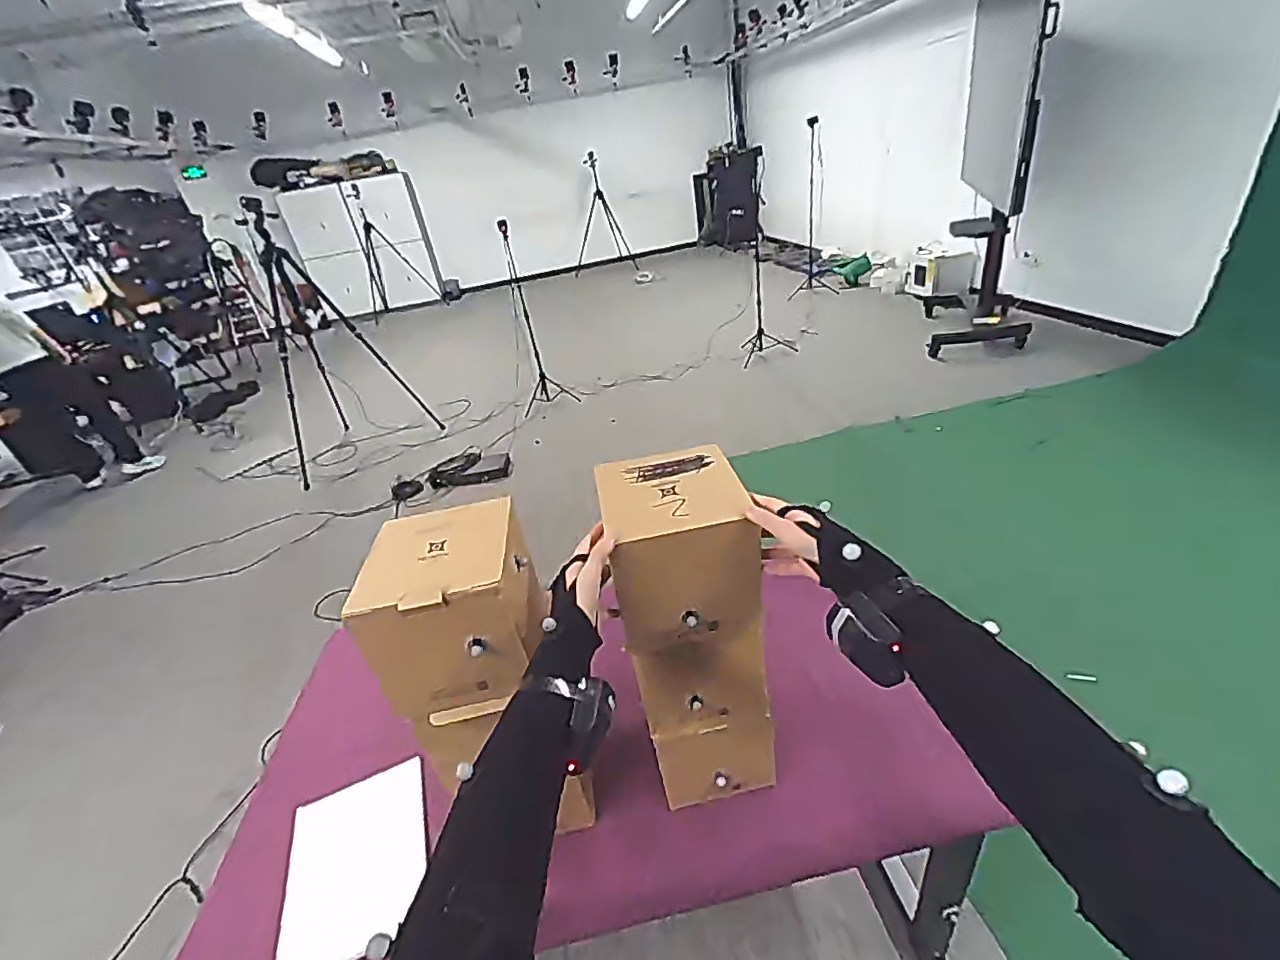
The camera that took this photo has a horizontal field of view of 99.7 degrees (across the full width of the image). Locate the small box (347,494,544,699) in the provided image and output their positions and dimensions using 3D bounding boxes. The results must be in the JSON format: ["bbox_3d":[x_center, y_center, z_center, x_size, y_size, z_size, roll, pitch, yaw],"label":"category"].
[{"bbox_3d":[-0.218,0.145,0.666,0.168,0.176,0.179,-11,30,-2],"label":"small box"}]

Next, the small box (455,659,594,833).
[{"bbox_3d":[-0.170,0.417,0.843,0.168,0.176,0.179,-11,31,-3],"label":"small box"}]

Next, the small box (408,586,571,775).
[{"bbox_3d":[-0.194,0.281,0.754,0.168,0.176,0.179,-12,30,-3],"label":"small box"}]

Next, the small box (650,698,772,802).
[{"bbox_3d":[0.100,0.362,0.851,0.168,0.176,0.179,-13,30,-2],"label":"small box"}]

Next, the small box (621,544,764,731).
[{"bbox_3d":[0.071,0.220,0.775,0.168,0.176,0.179,-12,30,-2],"label":"small box"}]
